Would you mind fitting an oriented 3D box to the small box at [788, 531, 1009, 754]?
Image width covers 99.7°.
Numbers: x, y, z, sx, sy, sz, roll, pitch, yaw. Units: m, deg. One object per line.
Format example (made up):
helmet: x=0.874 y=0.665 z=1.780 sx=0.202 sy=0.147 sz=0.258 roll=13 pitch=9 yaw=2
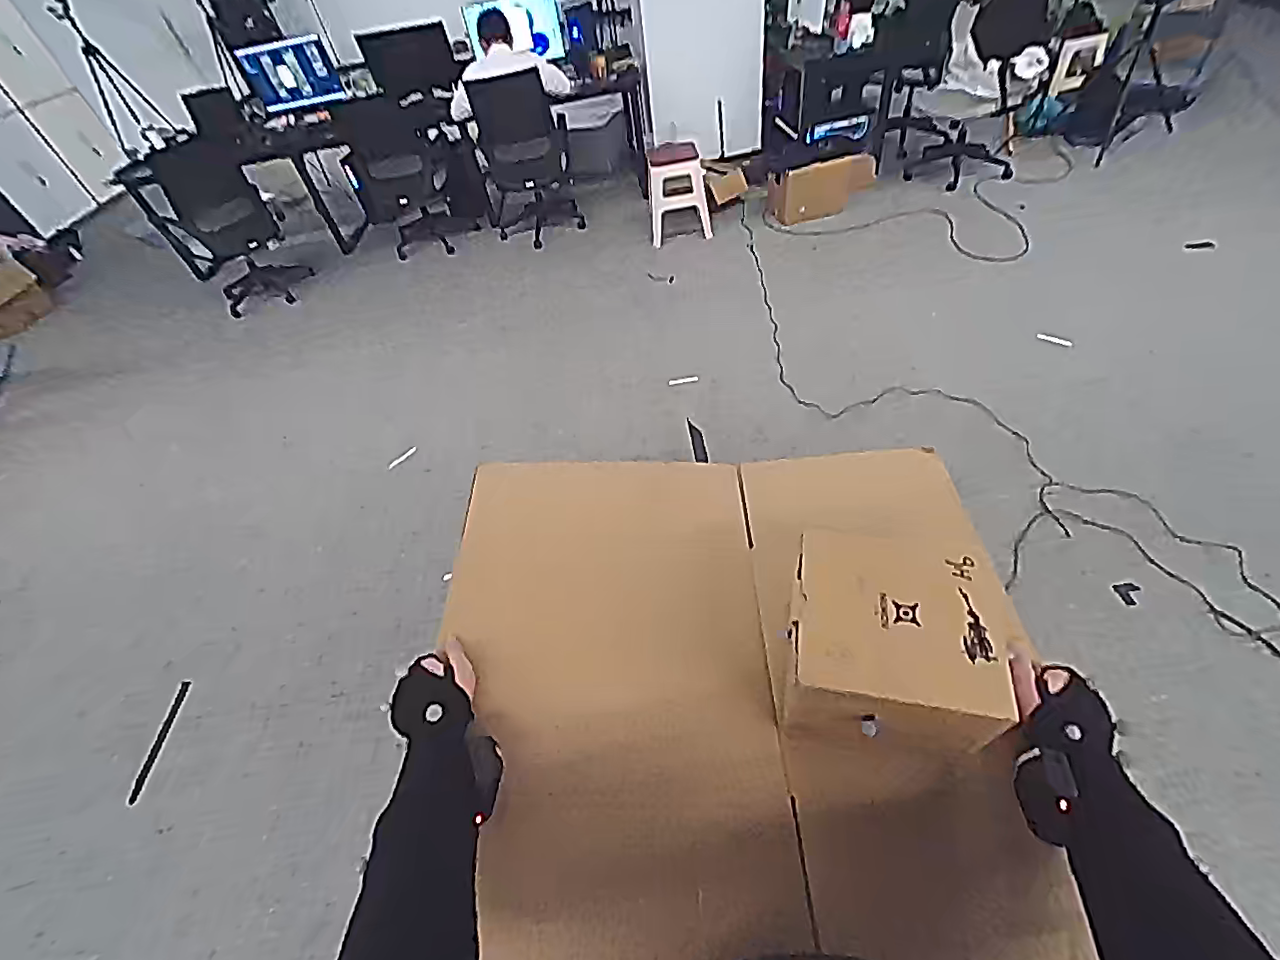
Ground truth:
small box: x=0.251 y=0.172 z=0.570 sx=0.179 sy=0.176 sz=0.168 roll=4 pitch=53 yaw=15
